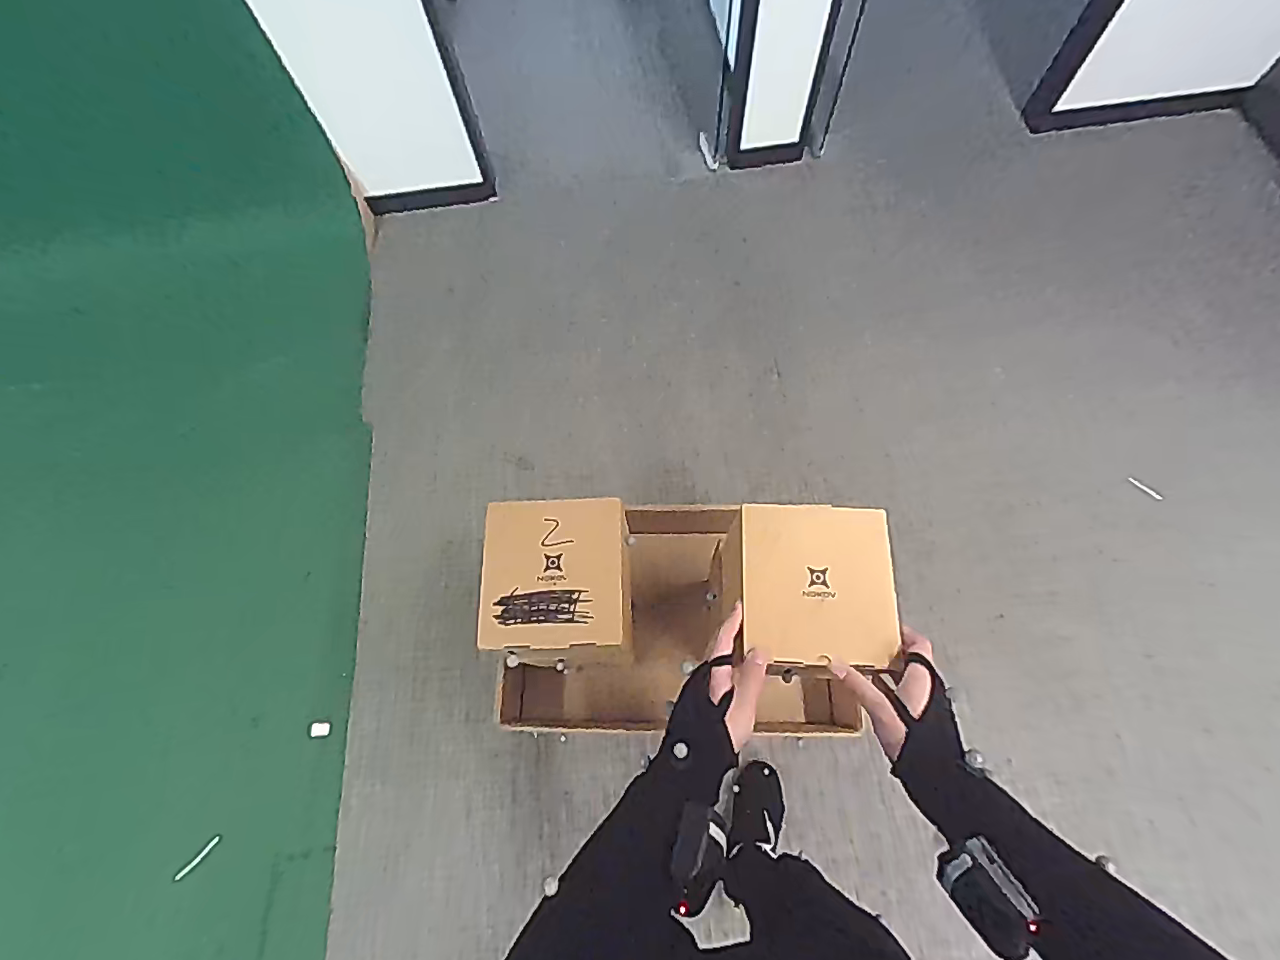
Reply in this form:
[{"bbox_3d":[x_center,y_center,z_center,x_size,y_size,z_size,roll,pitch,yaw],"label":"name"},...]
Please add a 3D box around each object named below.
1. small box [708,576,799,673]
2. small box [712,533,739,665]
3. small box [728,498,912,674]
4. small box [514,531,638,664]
[{"bbox_3d":[0.213,0.251,0.986,0.168,0.176,0.179,4,69,4],"label":"small box"},{"bbox_3d":[0.201,0.192,0.835,0.168,0.176,0.179,3,69,4],"label":"small box"},{"bbox_3d":[0.199,0.134,0.653,0.168,0.176,0.179,3,69,1],"label":"small box"},{"bbox_3d":[-0.090,0.189,0.847,0.168,0.176,0.179,-3,68,3],"label":"small box"}]
